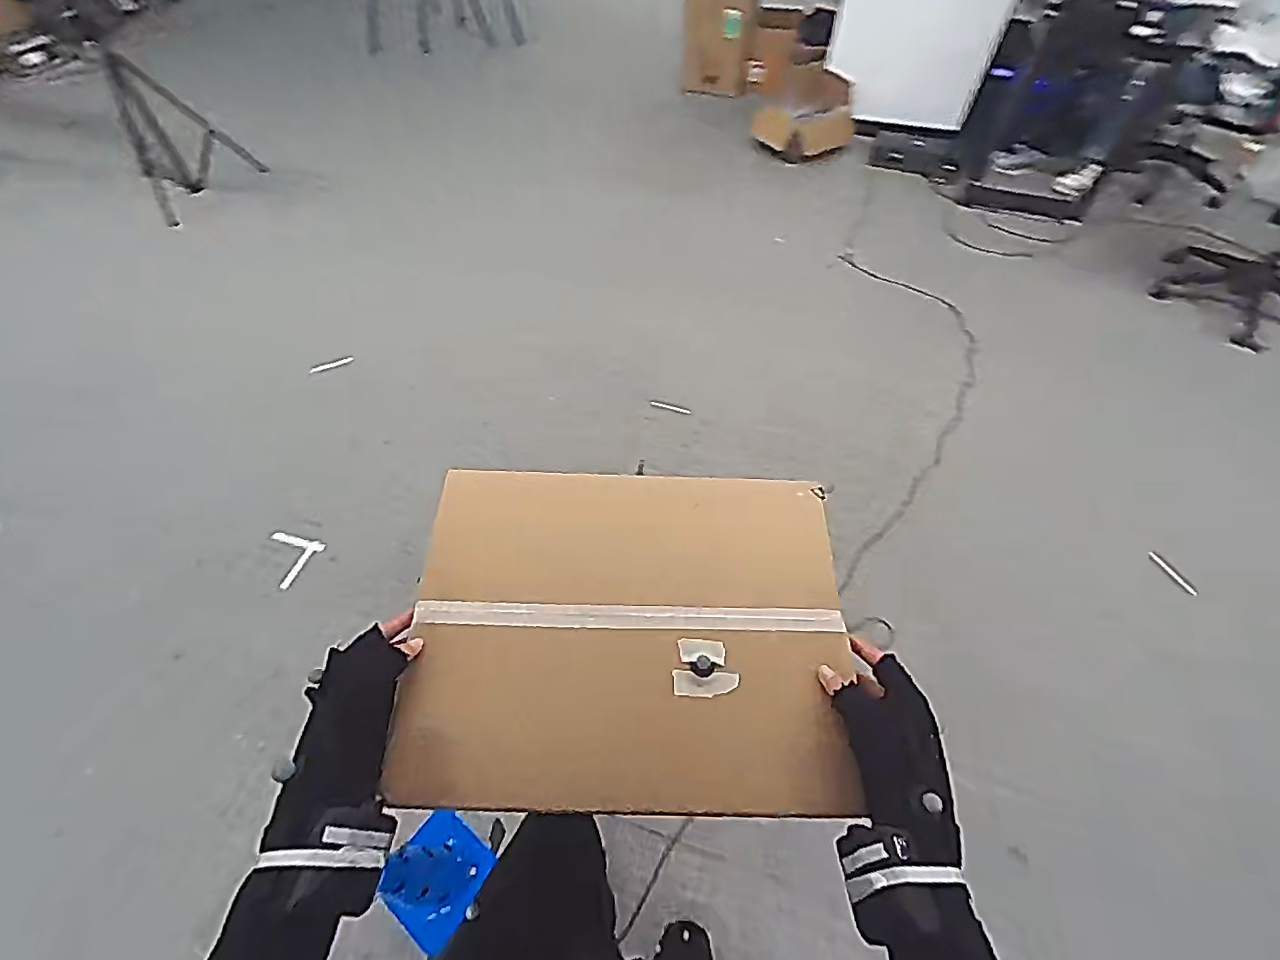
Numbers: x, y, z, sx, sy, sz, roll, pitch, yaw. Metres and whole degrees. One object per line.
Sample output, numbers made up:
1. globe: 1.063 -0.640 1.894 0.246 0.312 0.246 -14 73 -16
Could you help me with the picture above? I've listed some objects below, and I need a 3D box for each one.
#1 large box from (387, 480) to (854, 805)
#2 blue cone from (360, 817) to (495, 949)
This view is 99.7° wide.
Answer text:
1. large box: -0.020 0.211 0.656 0.408 0.320 0.320 1 59 -1
2. blue cone: -0.436 0.774 1.047 0.193 0.380 0.192 34 61 23
